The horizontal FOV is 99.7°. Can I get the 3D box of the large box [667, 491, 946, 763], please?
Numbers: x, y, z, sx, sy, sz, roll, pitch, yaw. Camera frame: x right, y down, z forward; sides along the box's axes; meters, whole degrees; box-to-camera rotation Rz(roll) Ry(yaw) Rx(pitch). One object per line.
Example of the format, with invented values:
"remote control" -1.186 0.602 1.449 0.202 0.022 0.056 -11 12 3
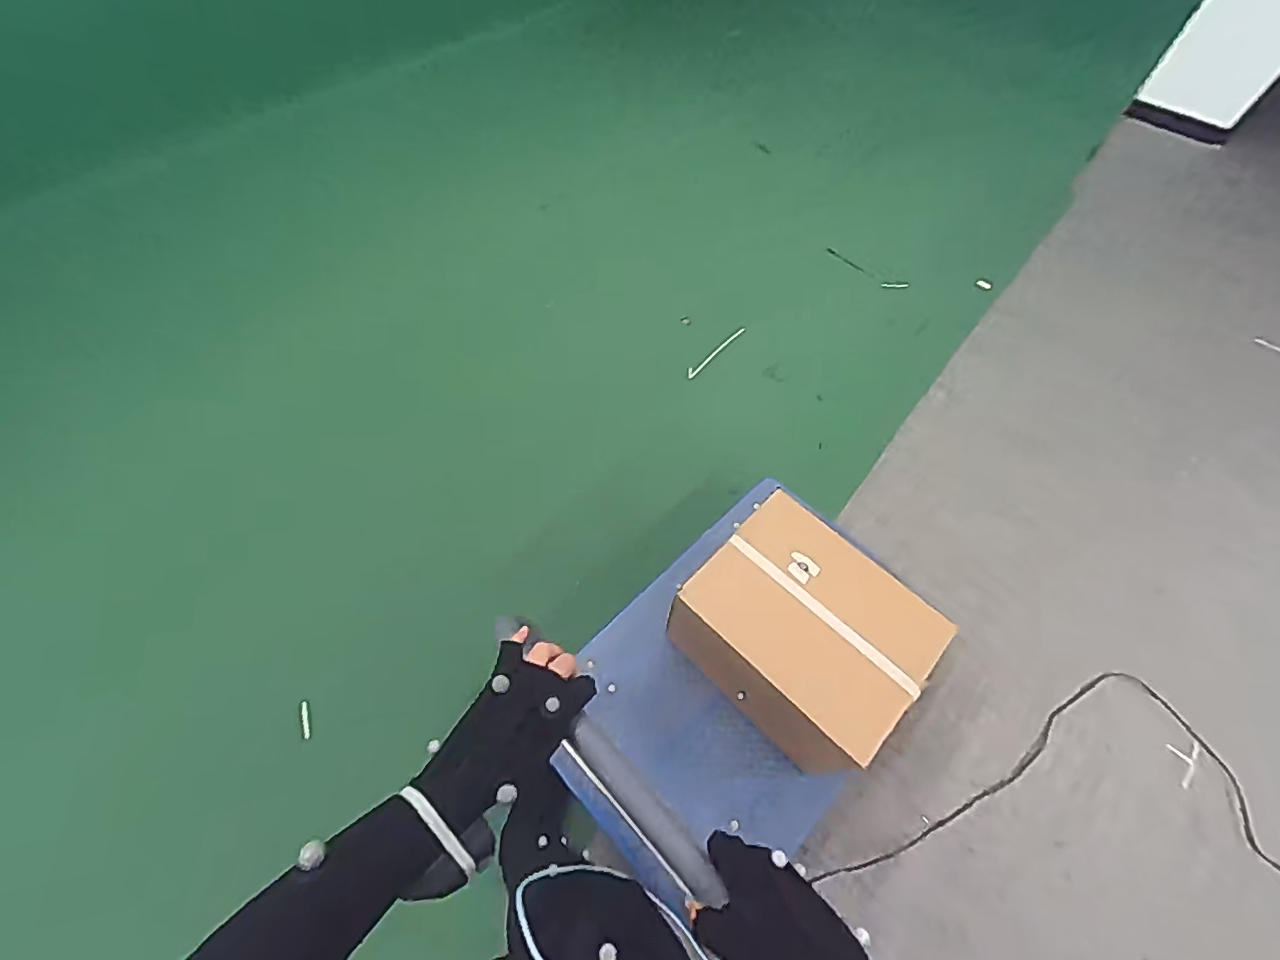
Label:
"large box" 0.306 0.306 1.112 0.408 0.320 0.320 41 66 20
